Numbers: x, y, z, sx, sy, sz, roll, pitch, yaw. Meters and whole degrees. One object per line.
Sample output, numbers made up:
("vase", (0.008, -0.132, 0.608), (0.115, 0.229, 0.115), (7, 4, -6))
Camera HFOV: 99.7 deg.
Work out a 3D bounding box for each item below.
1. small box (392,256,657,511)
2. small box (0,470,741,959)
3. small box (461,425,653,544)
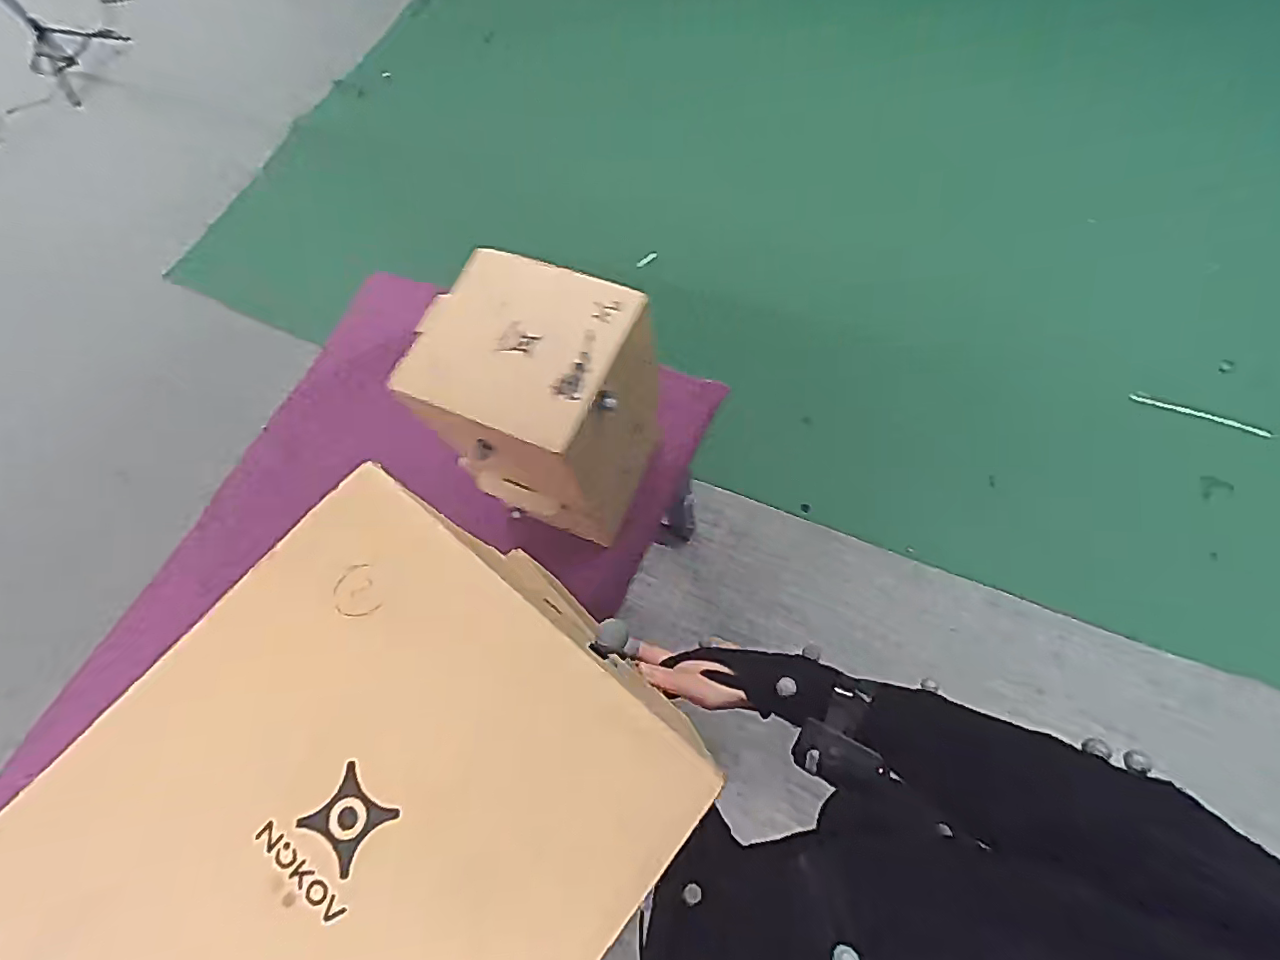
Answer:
("small box", (-0.097, -0.087, 0.545), (0.179, 0.176, 0.168), (21, 73, 16))
("small box", (-0.083, 0.130, 0.242), (0.168, 0.176, 0.179), (39, 77, 13))
("small box", (-0.091, -0.035, 0.702), (0.168, 0.176, 0.179), (19, 72, 14))
